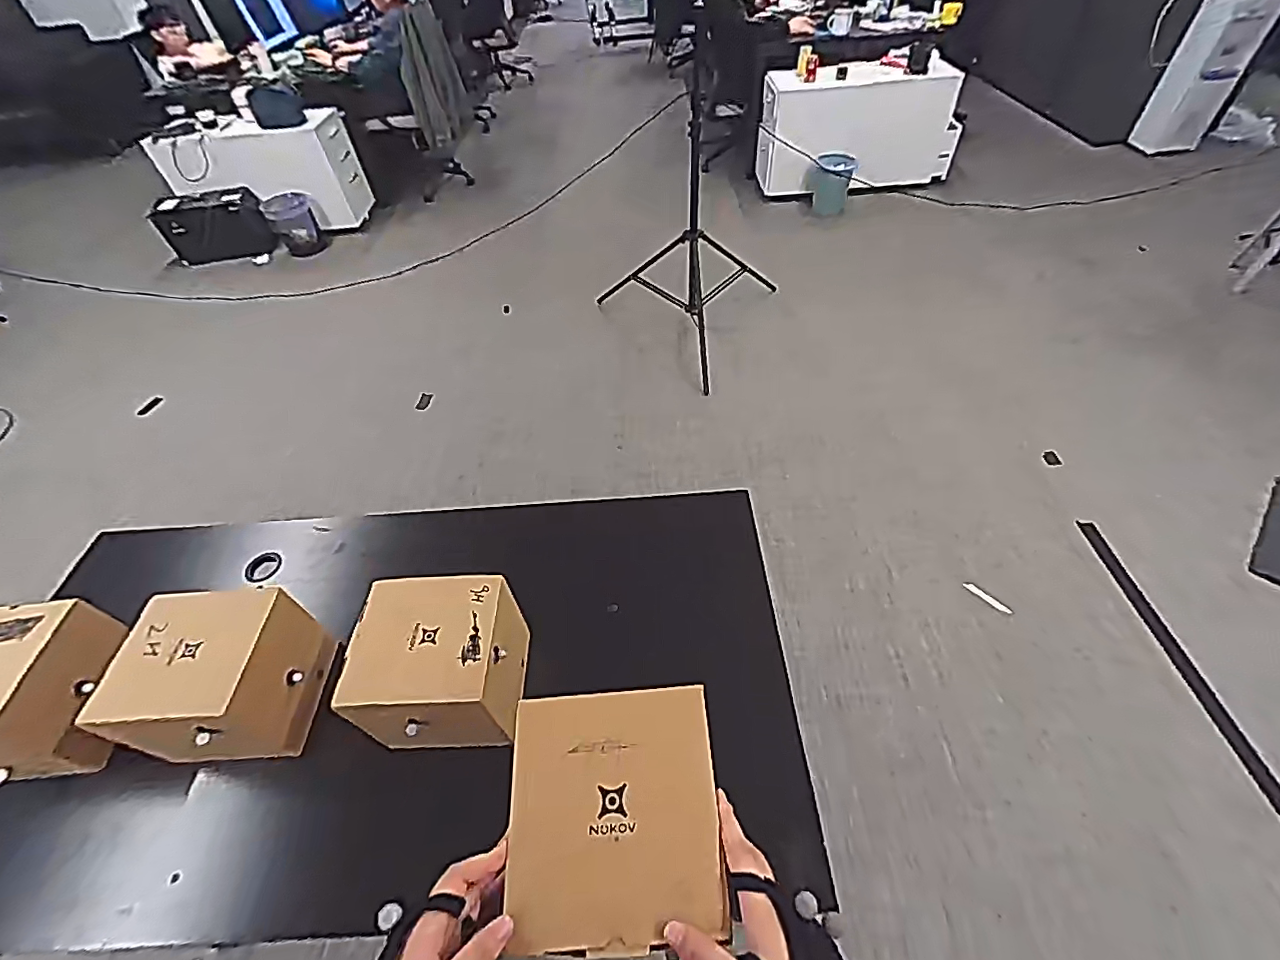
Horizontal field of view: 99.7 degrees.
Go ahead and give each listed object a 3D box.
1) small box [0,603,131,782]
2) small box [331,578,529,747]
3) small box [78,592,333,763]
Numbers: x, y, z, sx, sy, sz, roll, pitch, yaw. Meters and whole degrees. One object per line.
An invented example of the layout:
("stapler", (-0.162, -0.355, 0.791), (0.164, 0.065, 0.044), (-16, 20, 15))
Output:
("small box", (-0.820, 0.289, 0.731), (0.168, 0.176, 0.179), (-6, 50, 0))
("small box", (-0.262, 0.248, 0.723), (0.179, 0.176, 0.168), (-3, 49, 3))
("small box", (-0.554, 0.268, 0.726), (0.179, 0.176, 0.168), (-4, 48, 0))
